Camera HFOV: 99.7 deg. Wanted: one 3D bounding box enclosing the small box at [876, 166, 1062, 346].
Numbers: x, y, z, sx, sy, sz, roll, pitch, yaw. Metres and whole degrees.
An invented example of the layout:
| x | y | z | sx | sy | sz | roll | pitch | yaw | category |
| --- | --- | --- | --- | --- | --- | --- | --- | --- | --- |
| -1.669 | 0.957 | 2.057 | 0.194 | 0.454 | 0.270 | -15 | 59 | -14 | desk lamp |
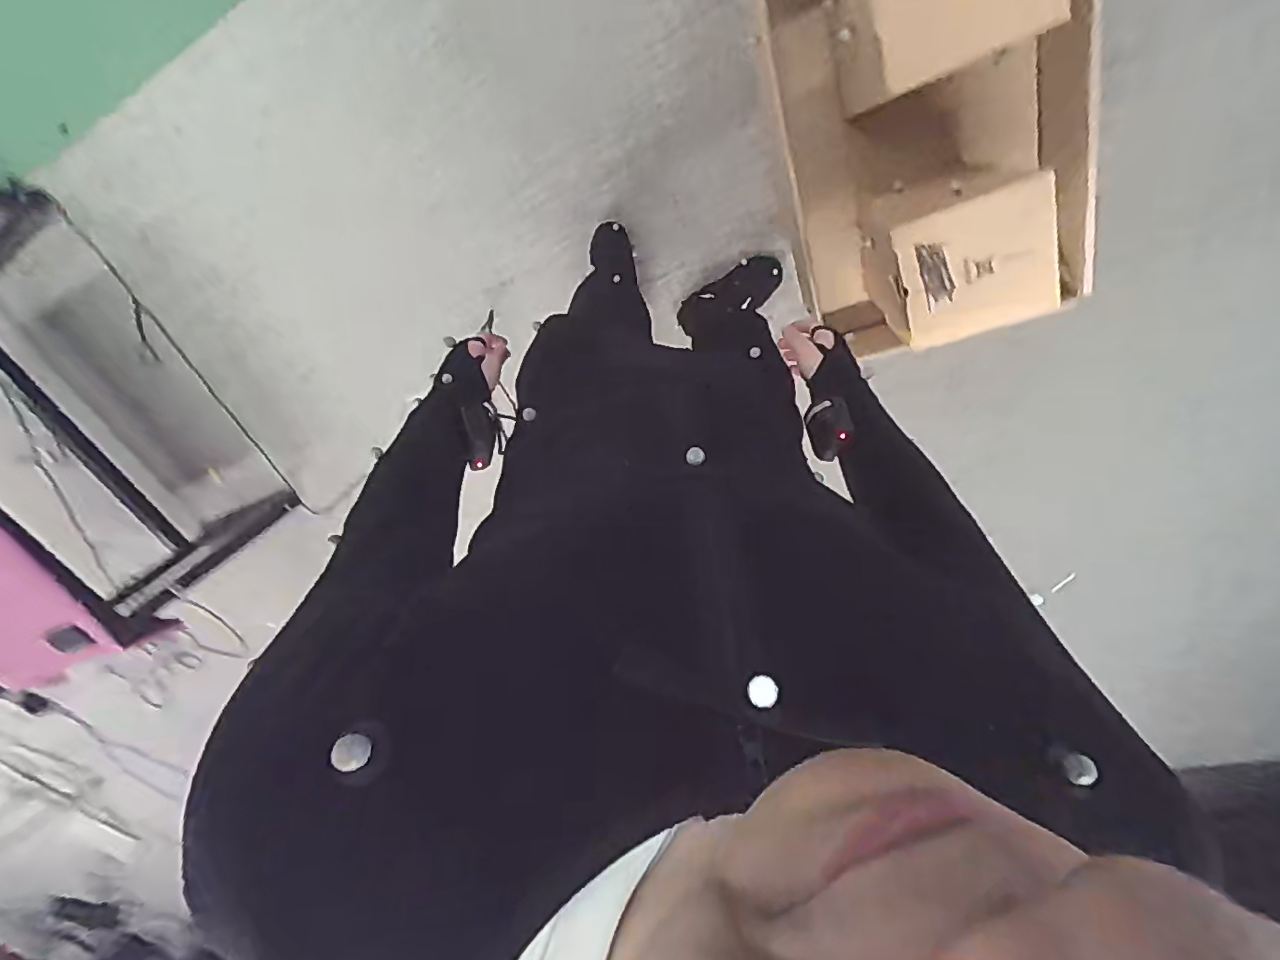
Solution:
| x | y | z | sx | sy | sz | roll | pitch | yaw | category |
| --- | --- | --- | --- | --- | --- | --- | --- | --- | --- |
| 0.431 | -0.304 | 0.733 | 0.179 | 0.176 | 0.168 | -14 | 117 | 19 | small box |

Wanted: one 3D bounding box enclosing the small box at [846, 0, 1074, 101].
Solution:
| x | y | z | sx | sy | sz | roll | pitch | yaw | category |
| --- | --- | --- | --- | --- | --- | --- | --- | --- | --- |
| 0.341 | -0.555 | 0.602 | 0.179 | 0.176 | 0.168 | -14 | 116 | 18 | small box |

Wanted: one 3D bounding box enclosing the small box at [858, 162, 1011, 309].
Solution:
| x | y | z | sx | sy | sz | roll | pitch | yaw | category |
| --- | --- | --- | --- | --- | --- | --- | --- | --- | --- |
| 0.462 | -0.395 | 0.868 | 0.179 | 0.176 | 0.168 | -9 | 119 | 17 | small box |
